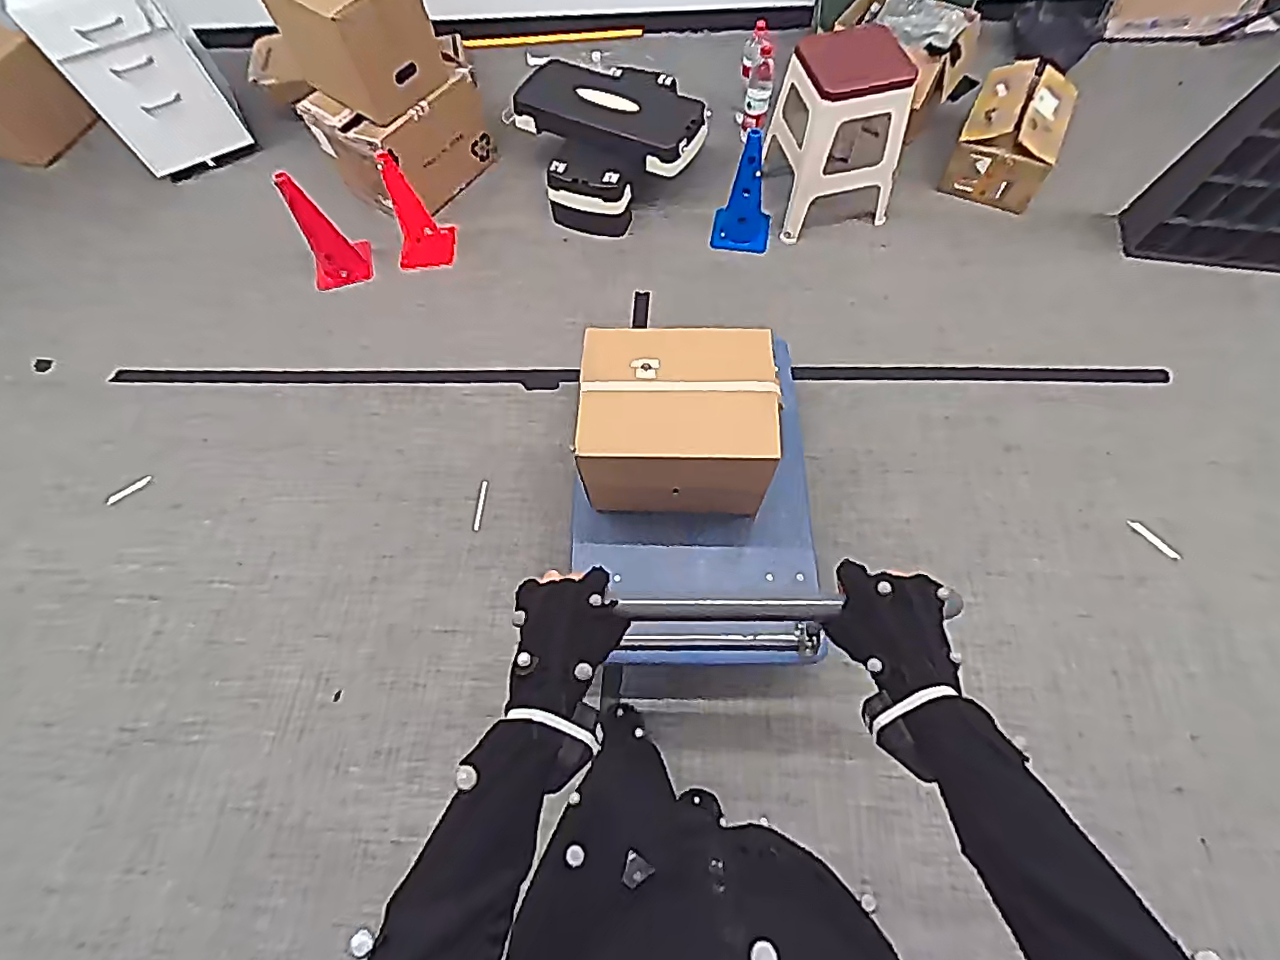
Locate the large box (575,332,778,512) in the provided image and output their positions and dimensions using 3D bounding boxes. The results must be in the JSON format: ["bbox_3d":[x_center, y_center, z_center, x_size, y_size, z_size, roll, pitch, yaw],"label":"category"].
[{"bbox_3d":[0.082,-0.118,1.251,0.408,0.320,0.320,0,66,3],"label":"large box"}]
